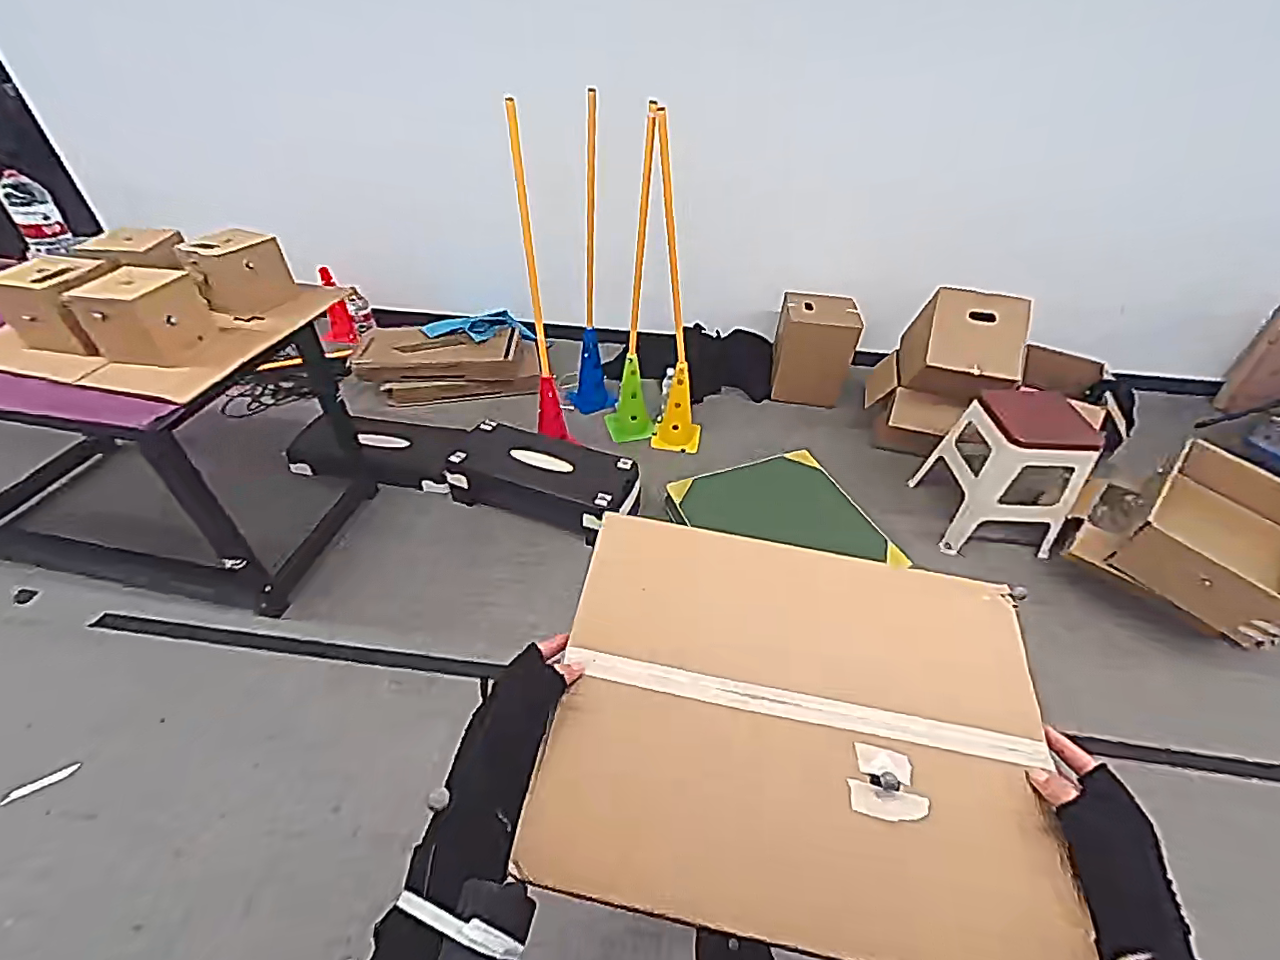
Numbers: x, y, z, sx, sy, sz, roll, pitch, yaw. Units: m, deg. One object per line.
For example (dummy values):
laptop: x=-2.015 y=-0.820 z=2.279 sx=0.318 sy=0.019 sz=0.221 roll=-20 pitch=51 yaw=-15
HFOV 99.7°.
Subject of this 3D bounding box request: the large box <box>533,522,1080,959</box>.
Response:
large box: x=0.130 y=0.283 z=0.594 sx=0.408 sy=0.320 sz=0.320 roll=10 pitch=54 yaw=4
